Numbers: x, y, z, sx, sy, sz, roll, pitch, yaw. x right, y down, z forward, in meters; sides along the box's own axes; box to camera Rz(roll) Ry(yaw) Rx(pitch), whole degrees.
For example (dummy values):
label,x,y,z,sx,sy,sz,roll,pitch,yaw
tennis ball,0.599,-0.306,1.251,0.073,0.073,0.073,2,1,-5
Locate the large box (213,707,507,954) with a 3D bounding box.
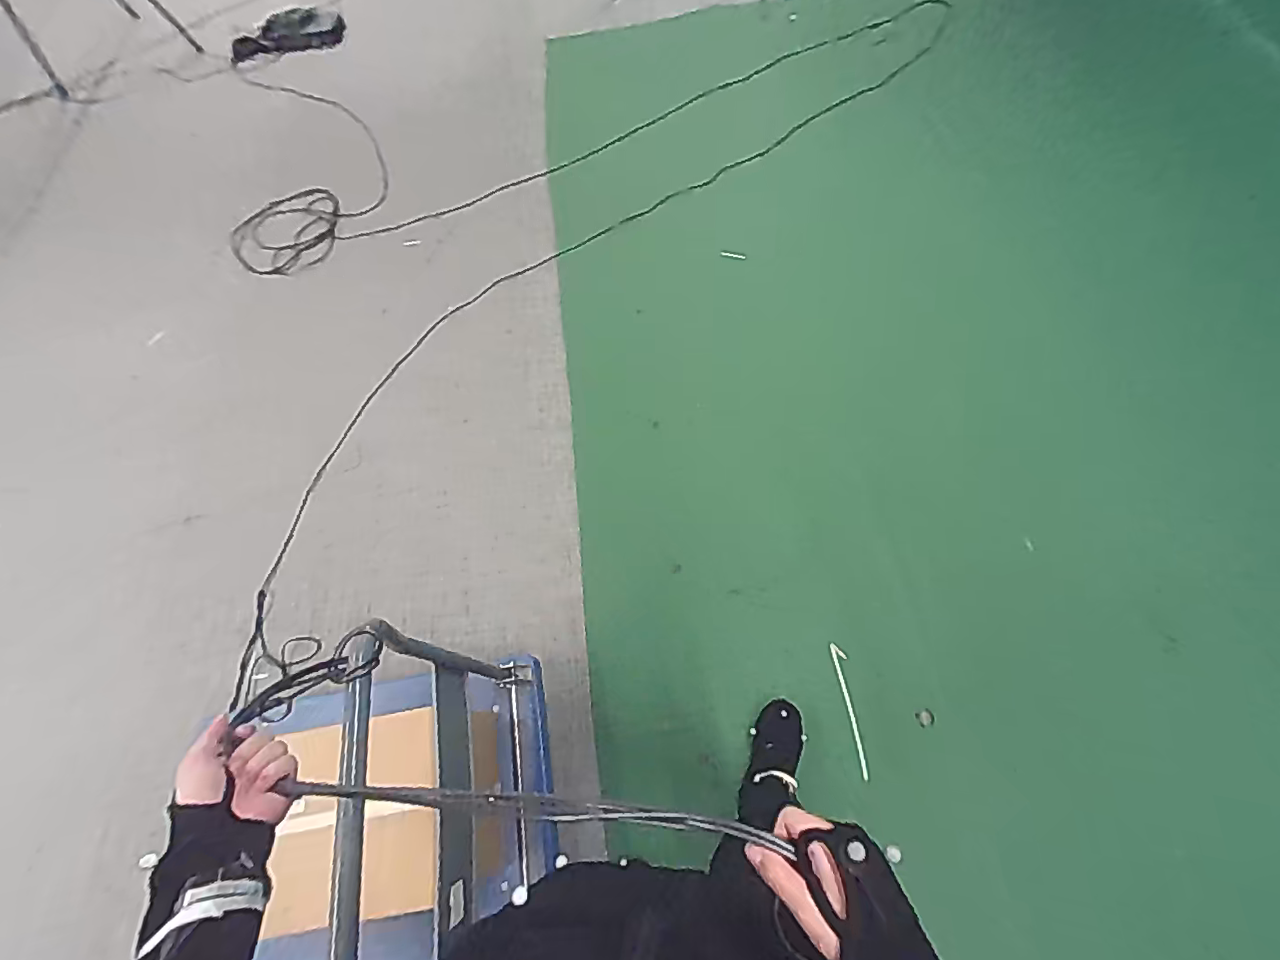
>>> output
label,x,y,z,sx,sy,sz,roll,pitch,yaw
large box,-0.517,0.662,1.079,0.408,0.320,0.320,-12,63,2
